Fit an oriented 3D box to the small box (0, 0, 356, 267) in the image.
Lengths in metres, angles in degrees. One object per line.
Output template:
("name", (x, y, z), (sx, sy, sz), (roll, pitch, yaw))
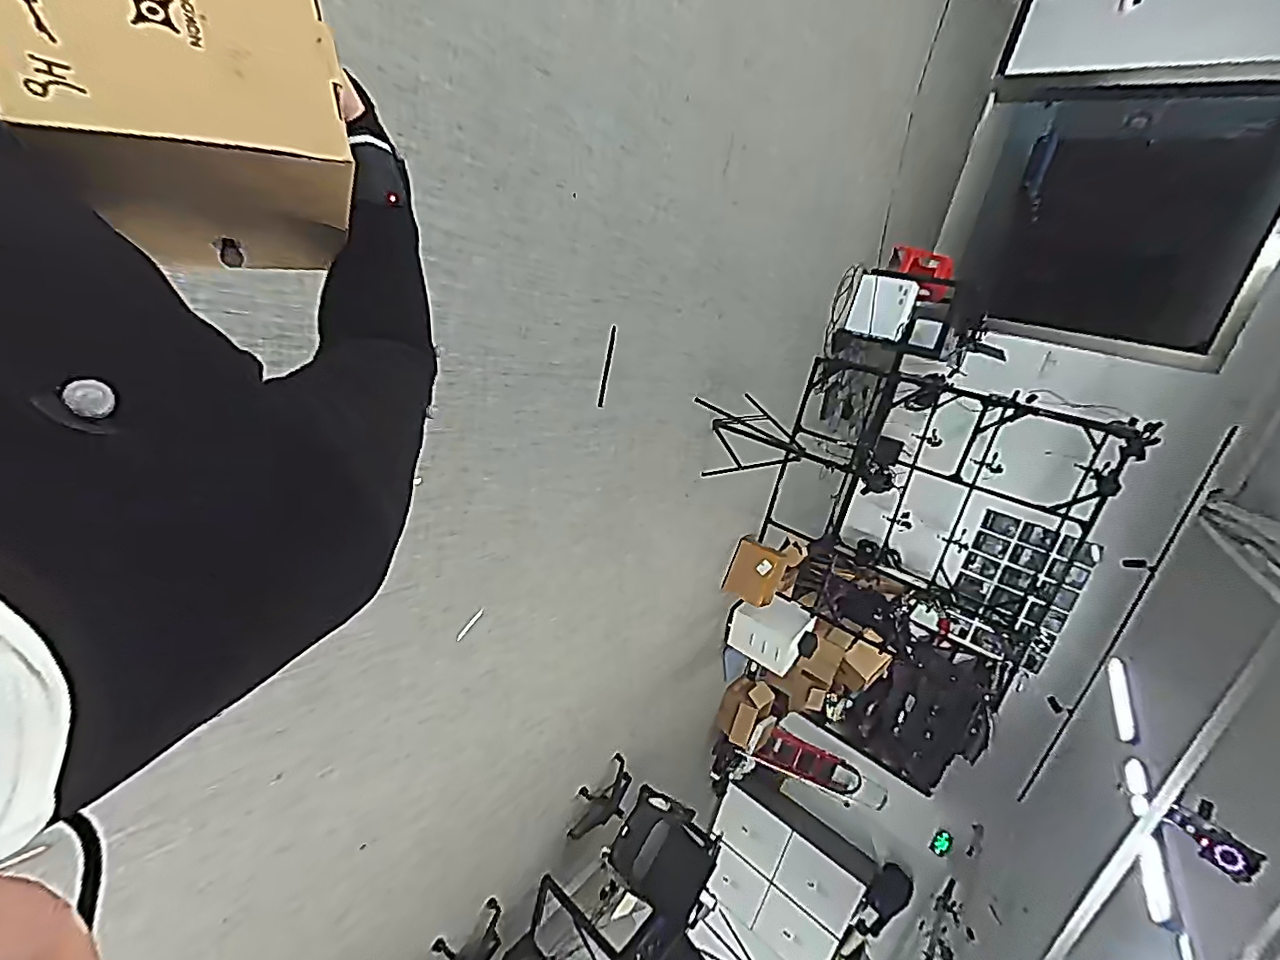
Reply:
("small box", (-0.341, -0.283, 0.421), (0.179, 0.176, 0.168), (-12, 89, -33))
